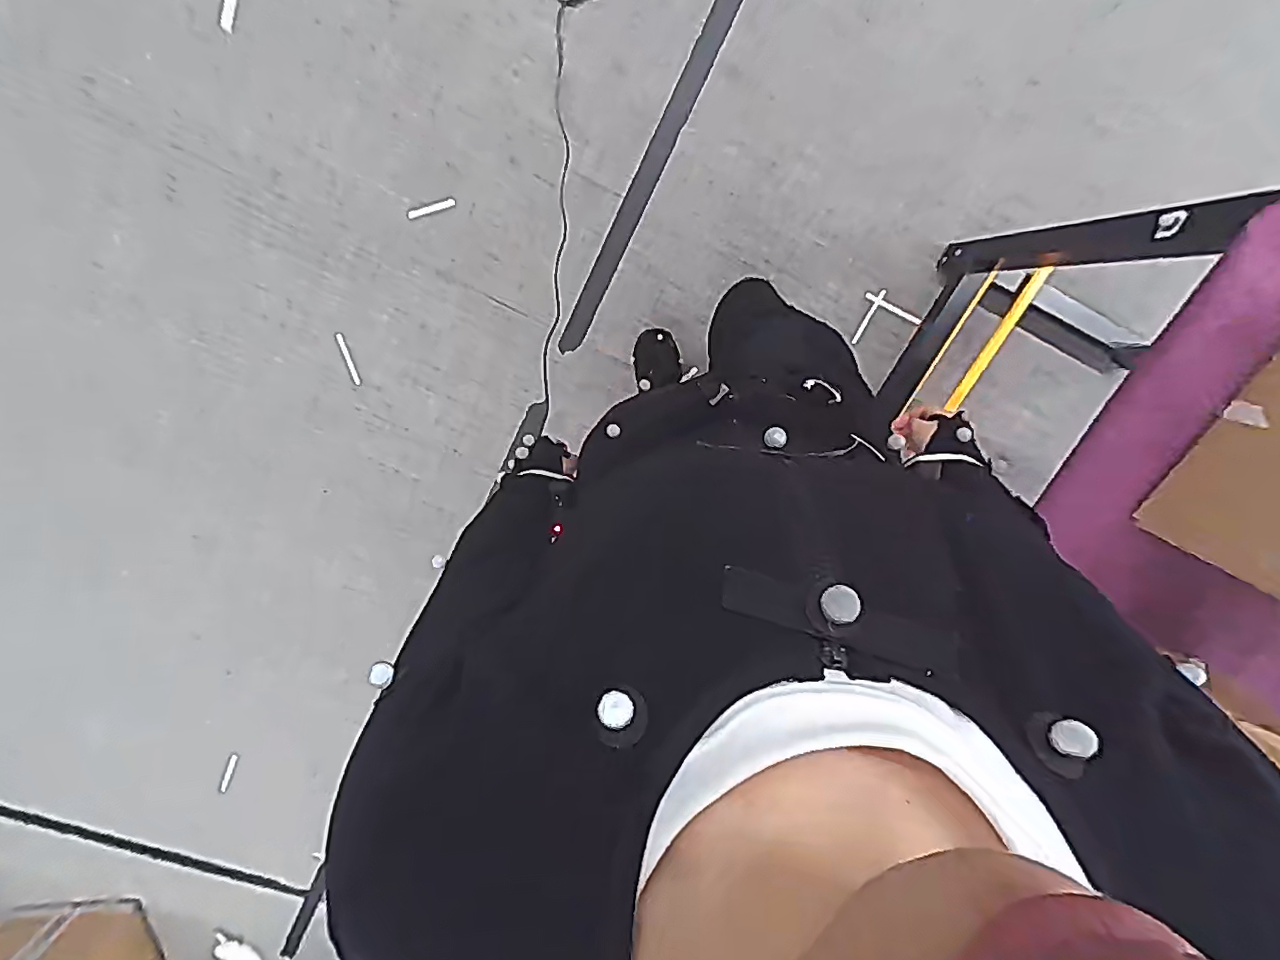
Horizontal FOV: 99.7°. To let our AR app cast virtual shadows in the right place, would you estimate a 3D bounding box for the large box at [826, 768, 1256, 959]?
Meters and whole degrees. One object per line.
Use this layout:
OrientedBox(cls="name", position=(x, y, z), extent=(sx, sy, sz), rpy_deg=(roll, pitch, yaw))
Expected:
OrientedBox(cls="large box", position=(0.531, 0.649, 0.696), extent=(0.408, 0.320, 0.320), rpy_deg=(24, 107, -11))
